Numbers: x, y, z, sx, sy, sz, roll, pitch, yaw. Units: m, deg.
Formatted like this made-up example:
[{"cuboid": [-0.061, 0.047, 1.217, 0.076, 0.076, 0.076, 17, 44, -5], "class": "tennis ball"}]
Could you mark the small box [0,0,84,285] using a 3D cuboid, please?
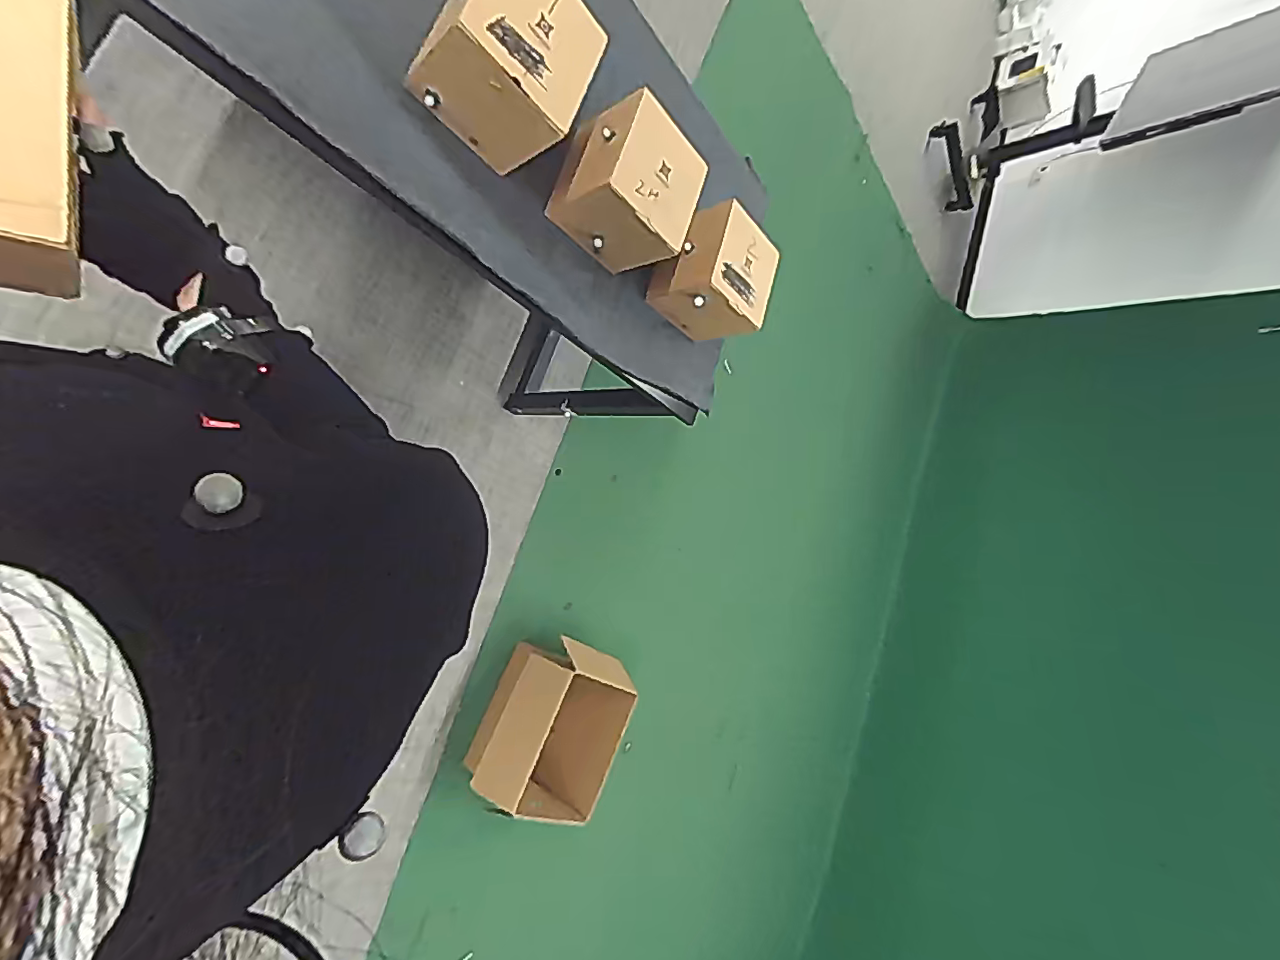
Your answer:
[{"cuboid": [-0.428, -0.226, 0.299, 0.168, 0.176, 0.179, -1, 96, -46], "class": "small box"}]

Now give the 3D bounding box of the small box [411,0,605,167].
[{"cuboid": [-0.182, -0.568, 0.730, 0.168, 0.176, 0.179, 31, 73, -42], "class": "small box"}]

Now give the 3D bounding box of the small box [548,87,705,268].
[{"cuboid": [-0.025, -0.483, 0.893, 0.168, 0.176, 0.179, 28, 76, -42], "class": "small box"}]
